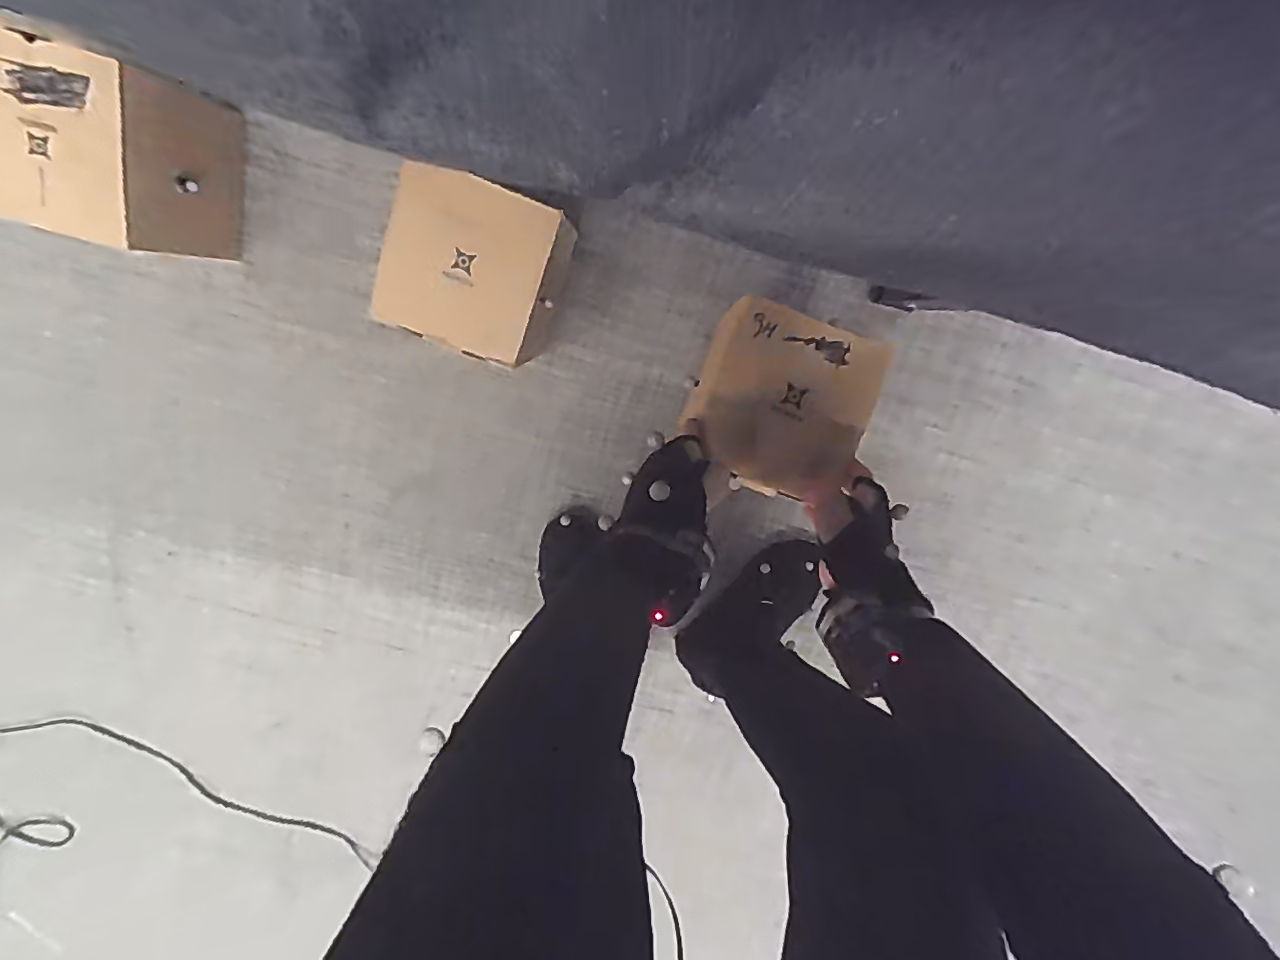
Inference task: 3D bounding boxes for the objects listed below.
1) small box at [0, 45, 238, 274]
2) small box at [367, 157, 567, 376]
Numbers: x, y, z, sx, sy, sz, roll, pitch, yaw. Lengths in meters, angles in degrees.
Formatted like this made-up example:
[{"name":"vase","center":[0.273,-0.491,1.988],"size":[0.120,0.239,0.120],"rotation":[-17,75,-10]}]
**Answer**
[{"name":"small box","center":[-0.590,-0.342,0.604],"size":[0.168,0.176,0.179],"rotation":[13,108,-4]},{"name":"small box","center":[-0.191,-0.239,0.640],"size":[0.168,0.176,0.179],"rotation":[18,105,-7]}]
